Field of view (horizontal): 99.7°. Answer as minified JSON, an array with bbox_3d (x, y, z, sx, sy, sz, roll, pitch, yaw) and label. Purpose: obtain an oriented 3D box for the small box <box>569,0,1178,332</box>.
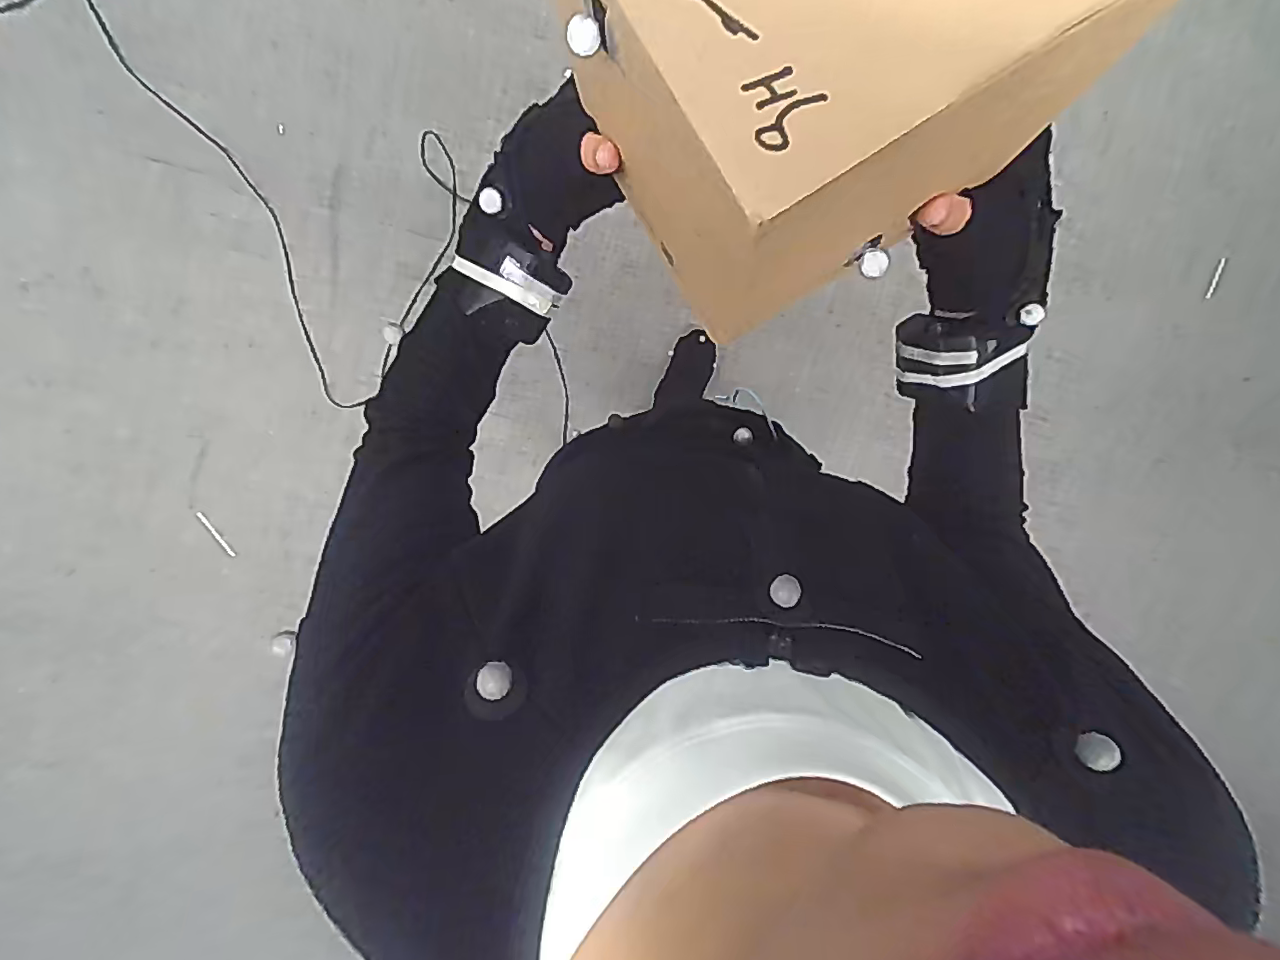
[{"bbox_3d":[0.076,-0.195,0.243,0.179,0.176,0.168,-31,88,4],"label":"small box"}]
